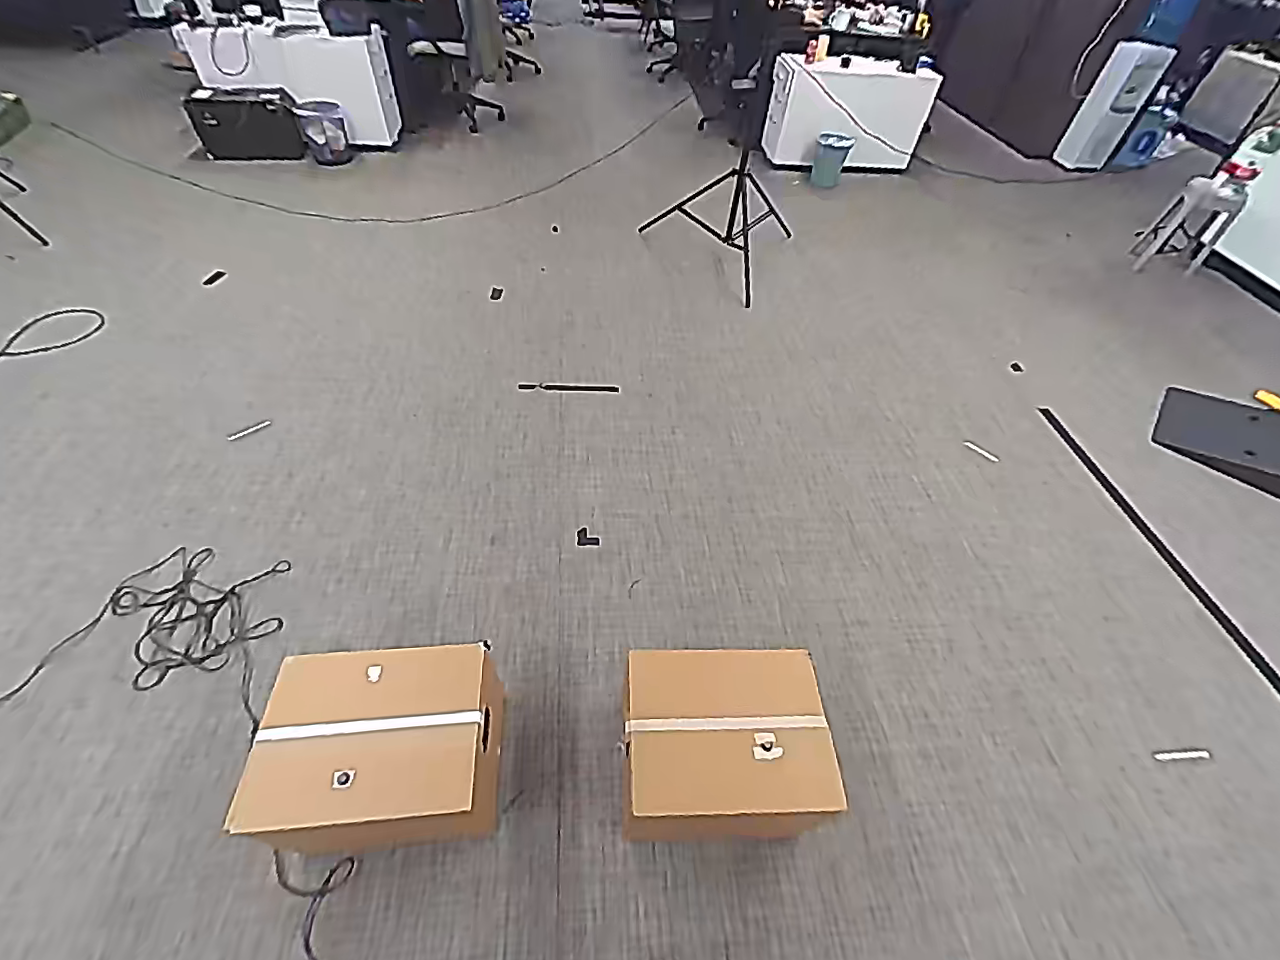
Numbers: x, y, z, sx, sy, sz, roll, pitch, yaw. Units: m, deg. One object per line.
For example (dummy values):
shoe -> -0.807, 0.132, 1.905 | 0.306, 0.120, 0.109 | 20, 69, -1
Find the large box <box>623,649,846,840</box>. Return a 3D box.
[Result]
large box -> 0.173, 0.590, 1.205 | 0.408, 0.320, 0.320 | 2, 49, -5
